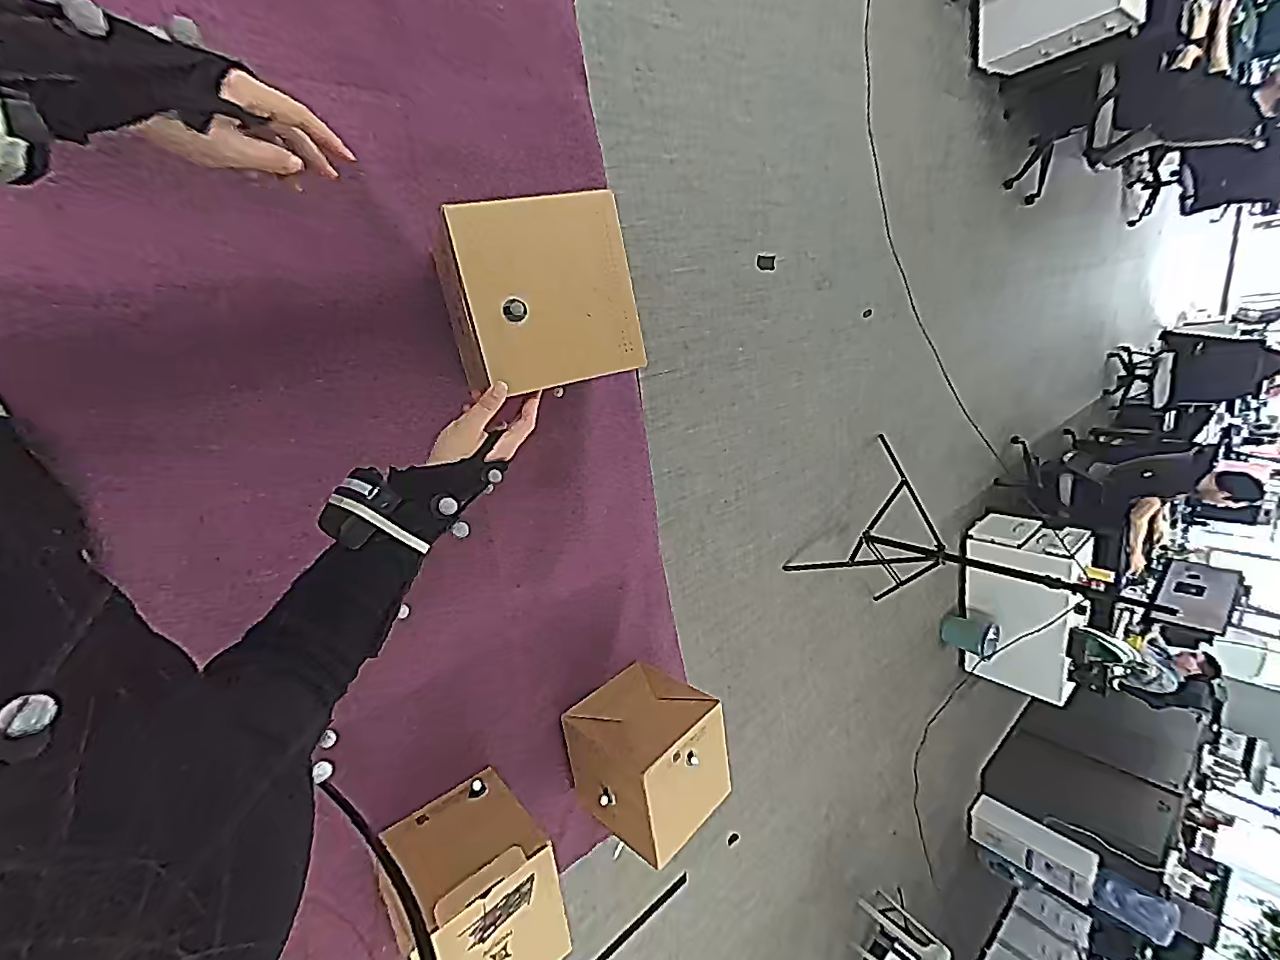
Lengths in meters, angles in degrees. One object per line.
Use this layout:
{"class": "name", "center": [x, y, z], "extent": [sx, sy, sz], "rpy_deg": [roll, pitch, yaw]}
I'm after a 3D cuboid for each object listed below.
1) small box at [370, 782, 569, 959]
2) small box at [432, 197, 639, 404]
{"class": "small box", "center": [-0.211, 0.511, 0.664], "extent": [0.168, 0.176, 0.179], "rpy_deg": [-18, 109, -37]}
{"class": "small box", "center": [-0.114, -0.189, 0.592], "extent": [0.176, 0.168, 0.179], "rpy_deg": [-17, 105, -22]}
